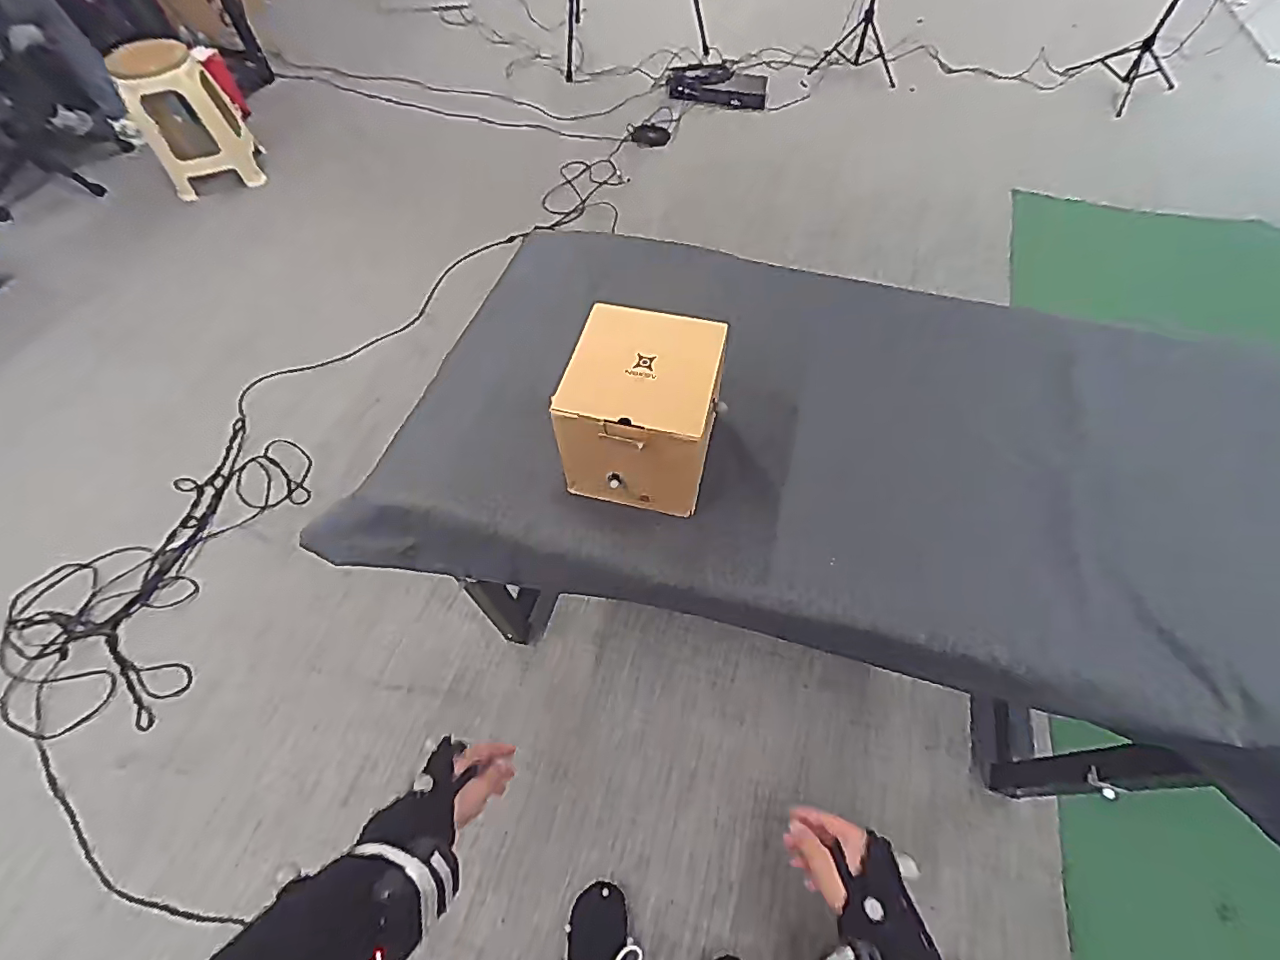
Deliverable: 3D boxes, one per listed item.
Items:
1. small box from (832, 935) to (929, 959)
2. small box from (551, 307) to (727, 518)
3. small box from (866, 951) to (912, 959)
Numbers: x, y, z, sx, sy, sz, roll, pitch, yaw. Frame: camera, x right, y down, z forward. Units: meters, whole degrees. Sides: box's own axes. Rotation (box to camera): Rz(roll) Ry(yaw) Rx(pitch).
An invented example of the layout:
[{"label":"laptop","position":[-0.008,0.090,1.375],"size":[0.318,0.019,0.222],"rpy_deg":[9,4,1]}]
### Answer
[{"label":"small box","position":[0.431,0.893,0.902],"size":[0.179,0.176,0.168],"rpy_deg":[10,57,8]},{"label":"small box","position":[0.003,-0.079,0.666],"size":[0.168,0.176,0.179],"rpy_deg":[11,59,7]},{"label":"small box","position":[0.436,0.804,0.765],"size":[0.179,0.176,0.168],"rpy_deg":[10,57,8]}]
